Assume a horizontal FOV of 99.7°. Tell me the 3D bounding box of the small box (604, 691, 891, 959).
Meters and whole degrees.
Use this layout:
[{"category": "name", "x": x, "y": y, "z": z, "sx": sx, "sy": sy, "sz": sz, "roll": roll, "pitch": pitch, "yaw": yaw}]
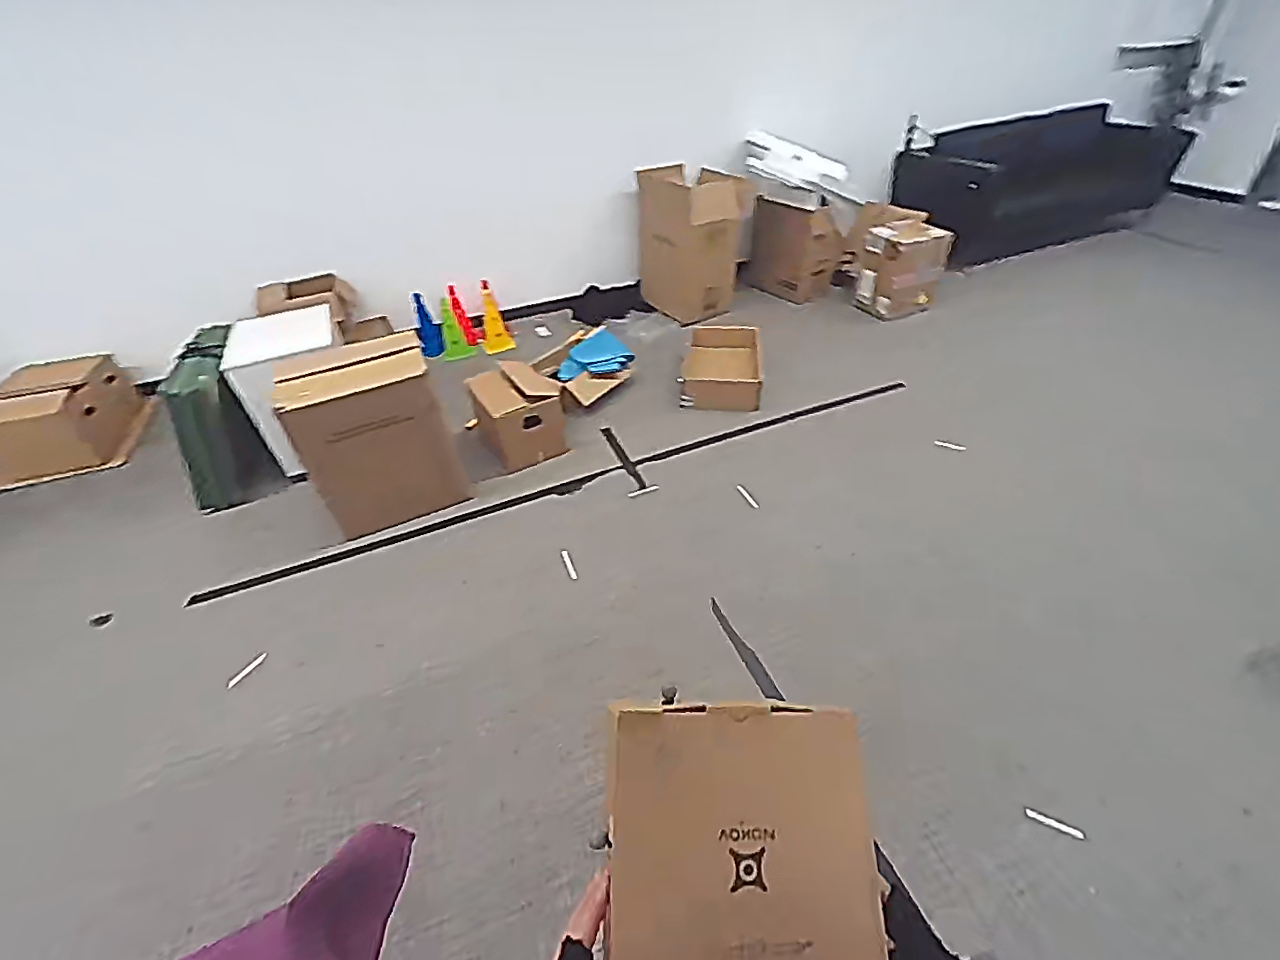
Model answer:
[{"category": "small box", "x": 0.060, "y": 0.254, "z": 0.405, "sx": 0.168, "sy": 0.176, "sz": 0.179, "roll": 3, "pitch": 69, "yaw": -4}]
